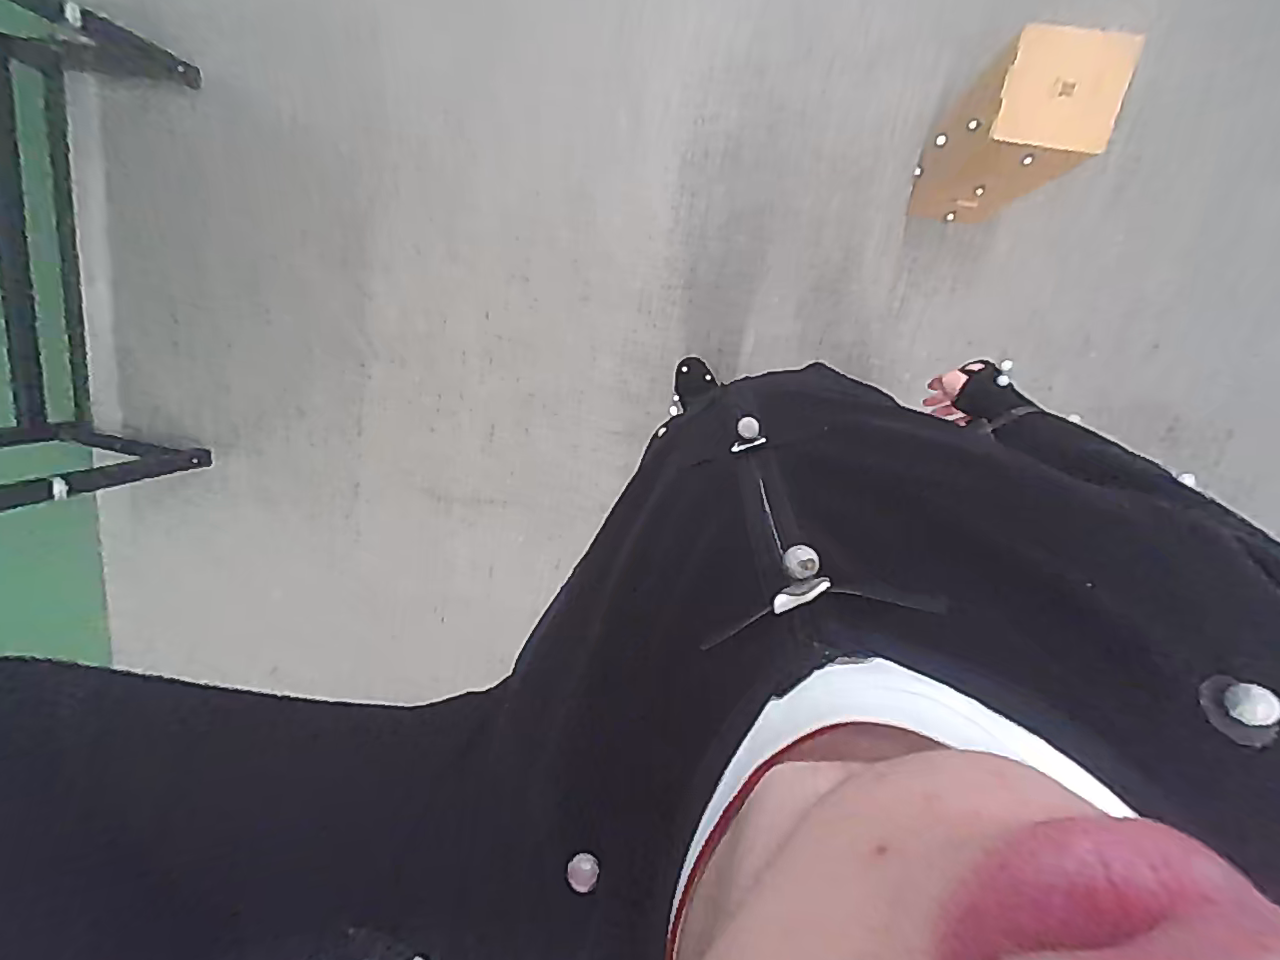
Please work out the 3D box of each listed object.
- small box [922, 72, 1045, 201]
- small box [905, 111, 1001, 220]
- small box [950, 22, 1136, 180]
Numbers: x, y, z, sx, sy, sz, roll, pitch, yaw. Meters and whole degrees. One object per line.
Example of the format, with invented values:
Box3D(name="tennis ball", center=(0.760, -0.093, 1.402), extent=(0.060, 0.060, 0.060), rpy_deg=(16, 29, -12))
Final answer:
Box3D(name="small box", center=(0.702, -0.677, 1.084), extent=(0.179, 0.176, 0.168), rpy_deg=(12, 104, 7))
Box3D(name="small box", center=(0.734, -0.714, 1.242), extent=(0.168, 0.176, 0.179), rpy_deg=(12, 105, 5))
Box3D(name="small box", center=(0.672, -0.638, 0.930), extent=(0.179, 0.176, 0.168), rpy_deg=(12, 105, 5))
